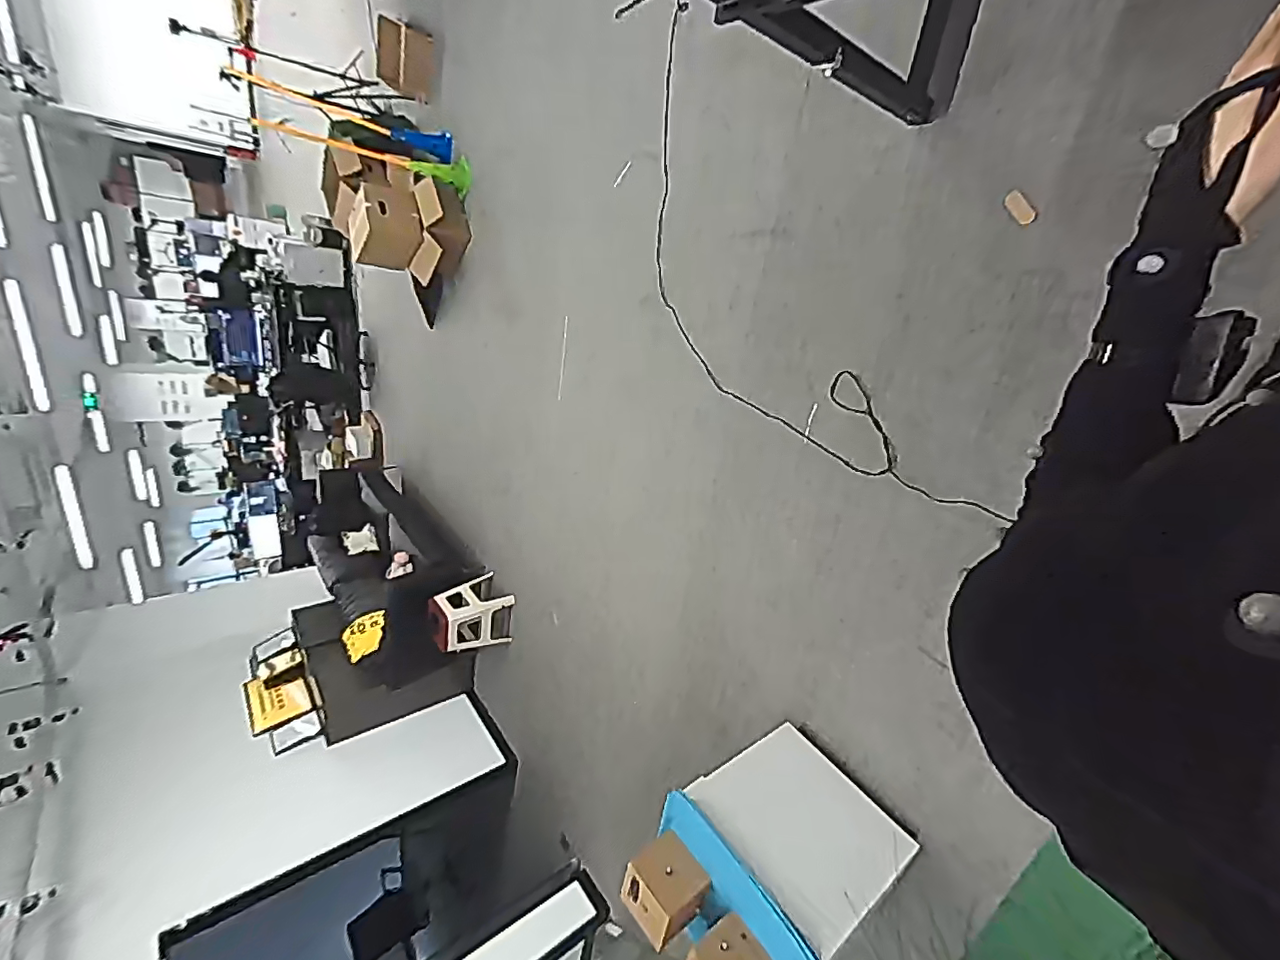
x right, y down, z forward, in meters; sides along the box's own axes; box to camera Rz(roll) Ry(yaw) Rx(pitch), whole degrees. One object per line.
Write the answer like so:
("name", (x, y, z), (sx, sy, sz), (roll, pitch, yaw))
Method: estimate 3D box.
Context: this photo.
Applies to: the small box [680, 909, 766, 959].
("small box", (0.212, 1.259, 1.382), (0.168, 0.176, 0.179), (37, 125, 42))
